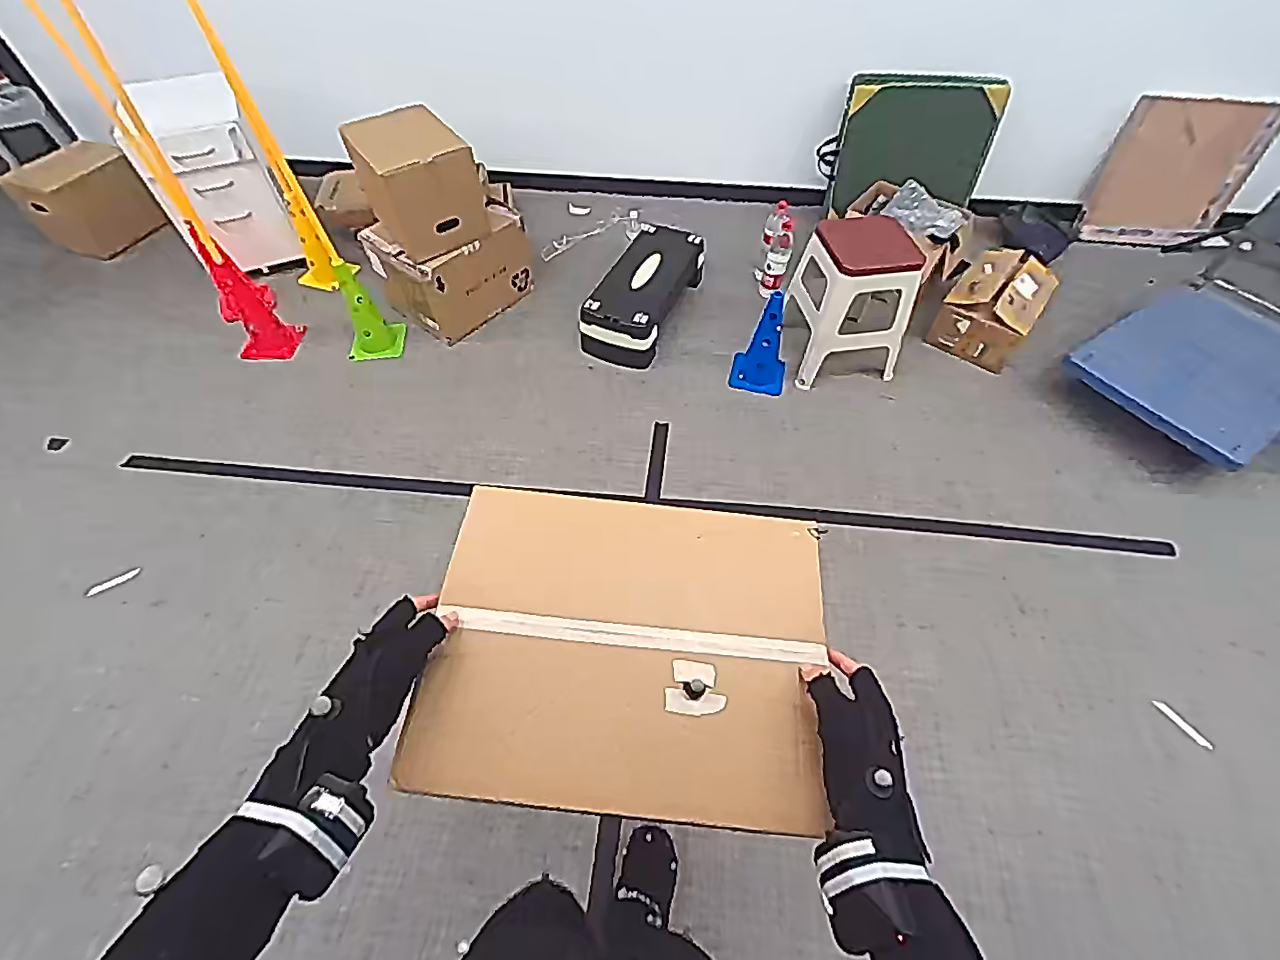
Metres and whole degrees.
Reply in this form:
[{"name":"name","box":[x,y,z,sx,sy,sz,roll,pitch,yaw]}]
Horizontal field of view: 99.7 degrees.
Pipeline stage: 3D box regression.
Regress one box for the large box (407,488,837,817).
[{"name":"large box","box":[-0.015,0.235,0.694,0.408,0.320,0.320,7,59,0]}]
